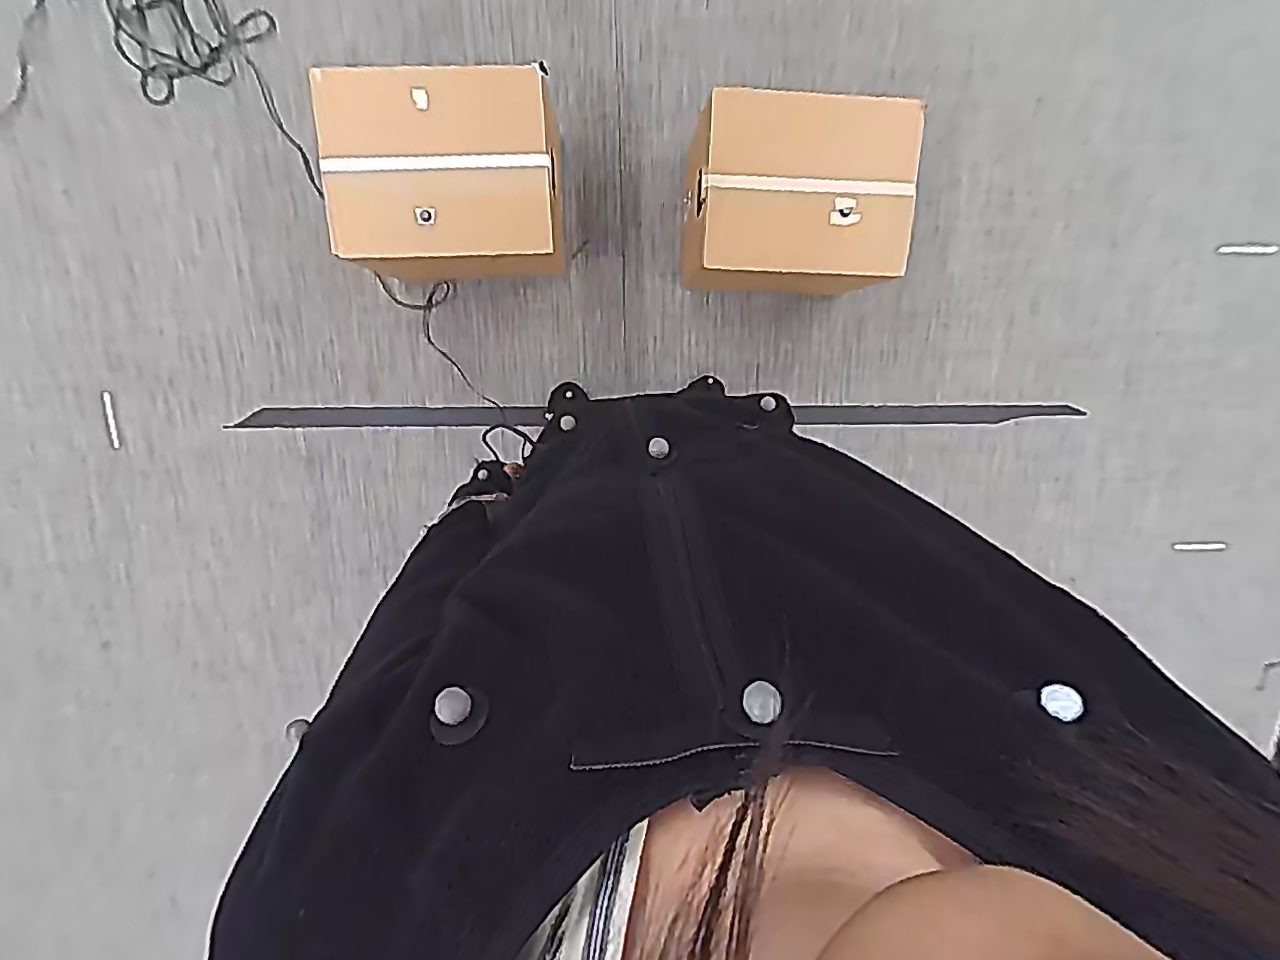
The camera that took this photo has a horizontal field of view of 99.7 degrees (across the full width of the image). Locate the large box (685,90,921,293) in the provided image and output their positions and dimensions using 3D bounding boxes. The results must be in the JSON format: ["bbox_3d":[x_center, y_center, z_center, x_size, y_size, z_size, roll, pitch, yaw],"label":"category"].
[{"bbox_3d":[0.317,-0.591,1.176,0.408,0.320,0.320,1,102,-4],"label":"large box"}]
